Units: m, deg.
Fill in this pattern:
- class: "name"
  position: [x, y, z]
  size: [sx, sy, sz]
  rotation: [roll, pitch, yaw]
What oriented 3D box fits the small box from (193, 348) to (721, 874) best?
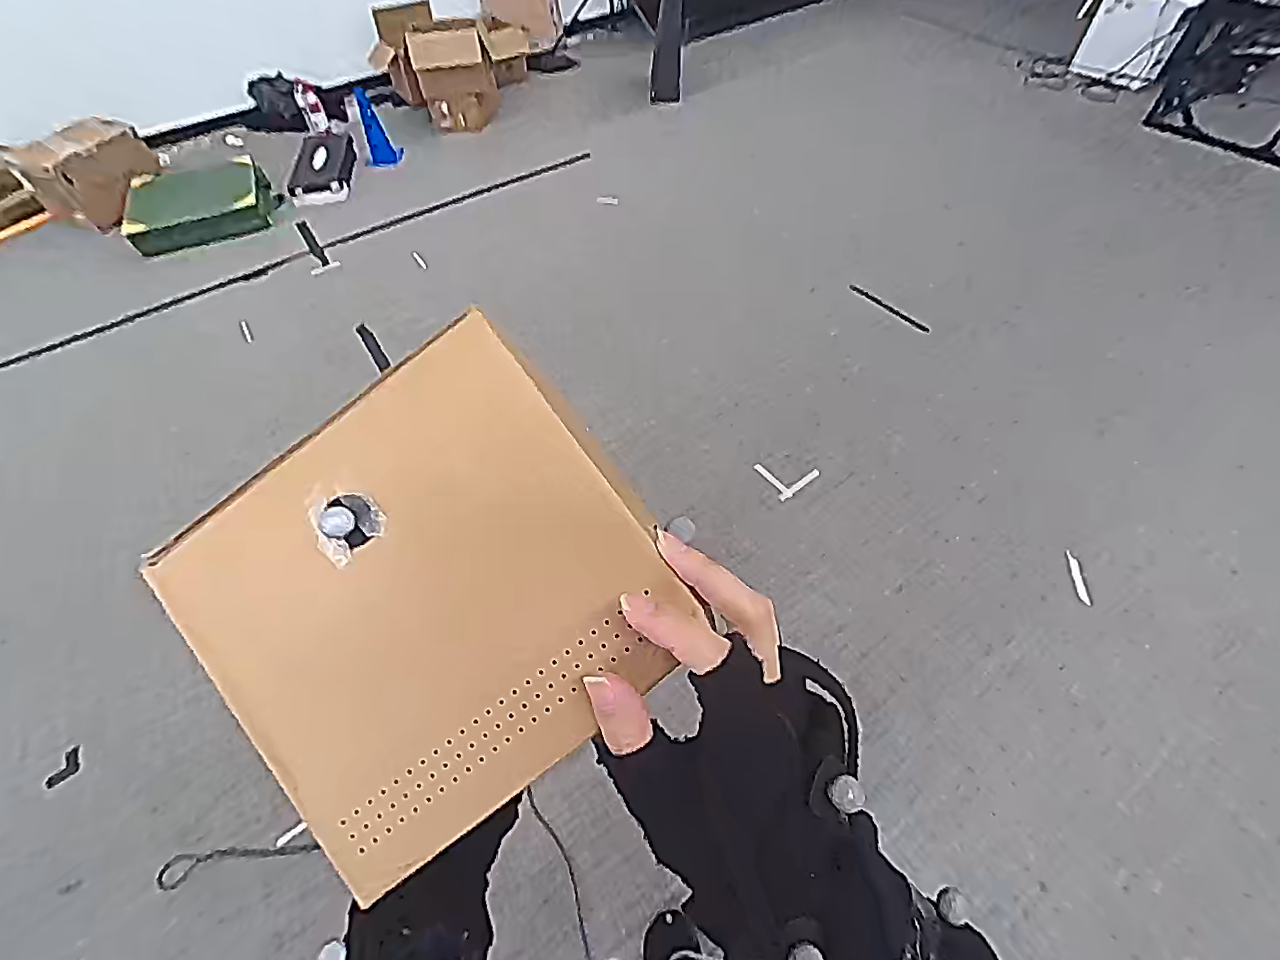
- class: "small box"
  position: [-0.077, 0.063, 0.307]
  size: [0.179, 0.168, 0.176]
  rotation: [-37, 85, 1]
